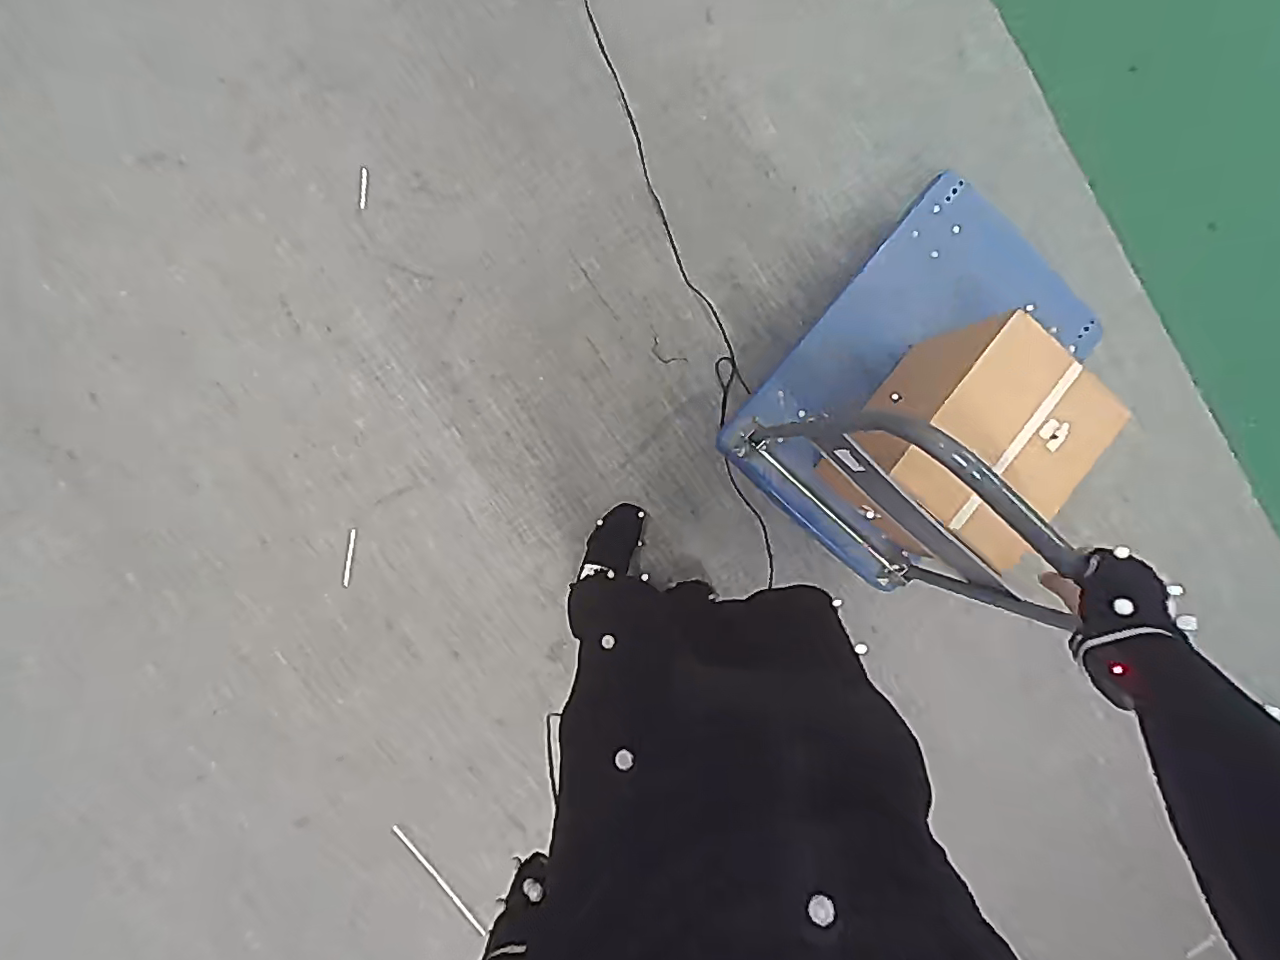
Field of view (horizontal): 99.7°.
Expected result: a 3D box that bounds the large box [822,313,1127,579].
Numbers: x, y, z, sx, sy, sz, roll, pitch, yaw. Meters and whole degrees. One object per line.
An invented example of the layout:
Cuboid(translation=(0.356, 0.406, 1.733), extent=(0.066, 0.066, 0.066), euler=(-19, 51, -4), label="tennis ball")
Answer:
Cuboid(translation=(0.673, -0.063, 1.149), extent=(0.320, 0.320, 0.408), euler=(39, 86, -7), label="large box")
